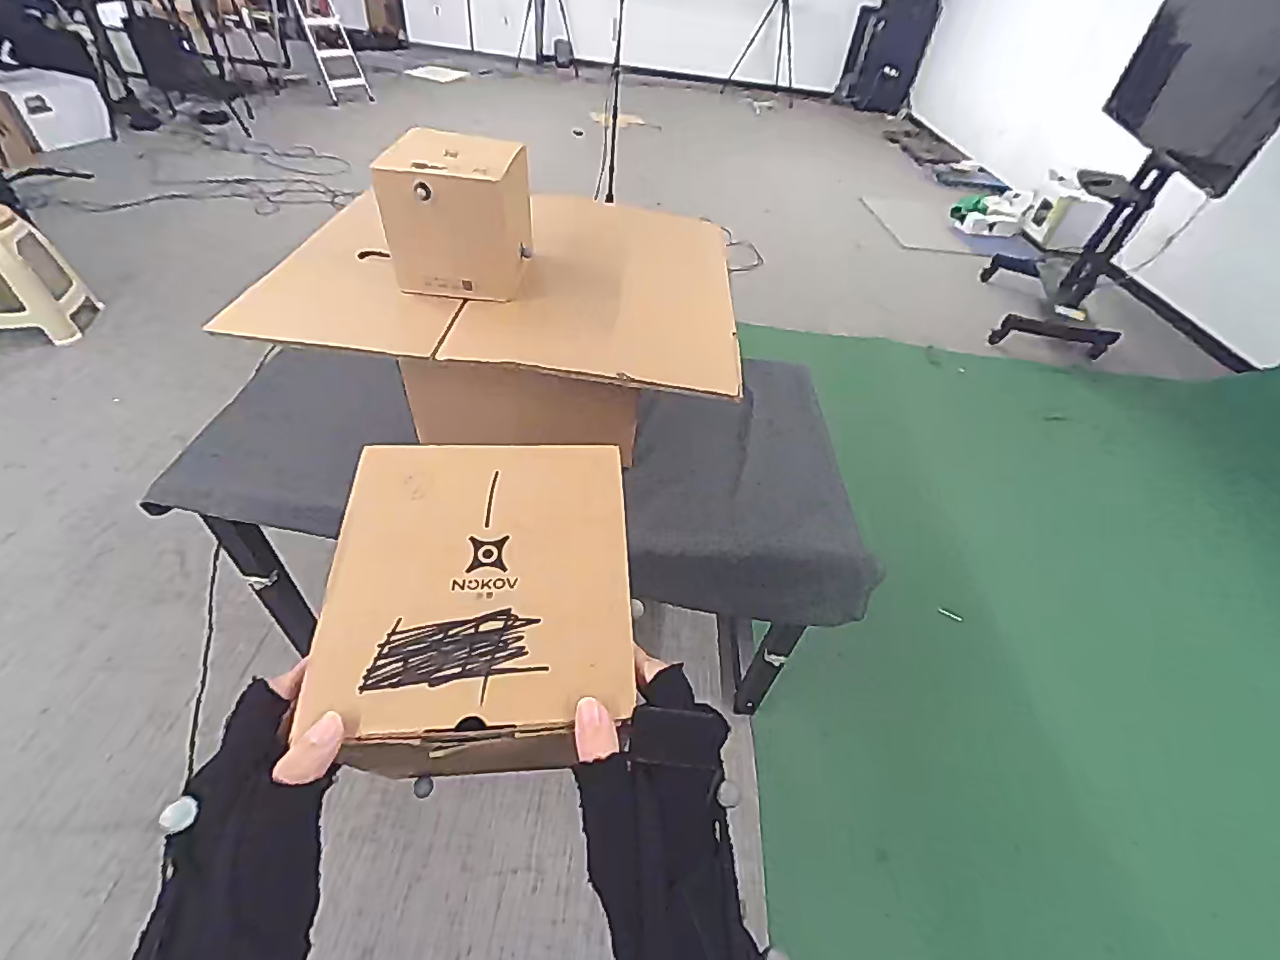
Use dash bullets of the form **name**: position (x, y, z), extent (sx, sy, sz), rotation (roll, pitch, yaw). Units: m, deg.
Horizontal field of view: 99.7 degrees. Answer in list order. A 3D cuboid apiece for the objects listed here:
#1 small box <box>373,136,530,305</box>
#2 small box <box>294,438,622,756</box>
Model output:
- **small box**: position (-0.260, -0.382, 0.797), extent (0.168, 0.176, 0.179), rotation (5, 45, -1)
- **small box**: position (-0.100, 0.089, 0.380), extent (0.168, 0.176, 0.179), rotation (-1, 56, -7)
